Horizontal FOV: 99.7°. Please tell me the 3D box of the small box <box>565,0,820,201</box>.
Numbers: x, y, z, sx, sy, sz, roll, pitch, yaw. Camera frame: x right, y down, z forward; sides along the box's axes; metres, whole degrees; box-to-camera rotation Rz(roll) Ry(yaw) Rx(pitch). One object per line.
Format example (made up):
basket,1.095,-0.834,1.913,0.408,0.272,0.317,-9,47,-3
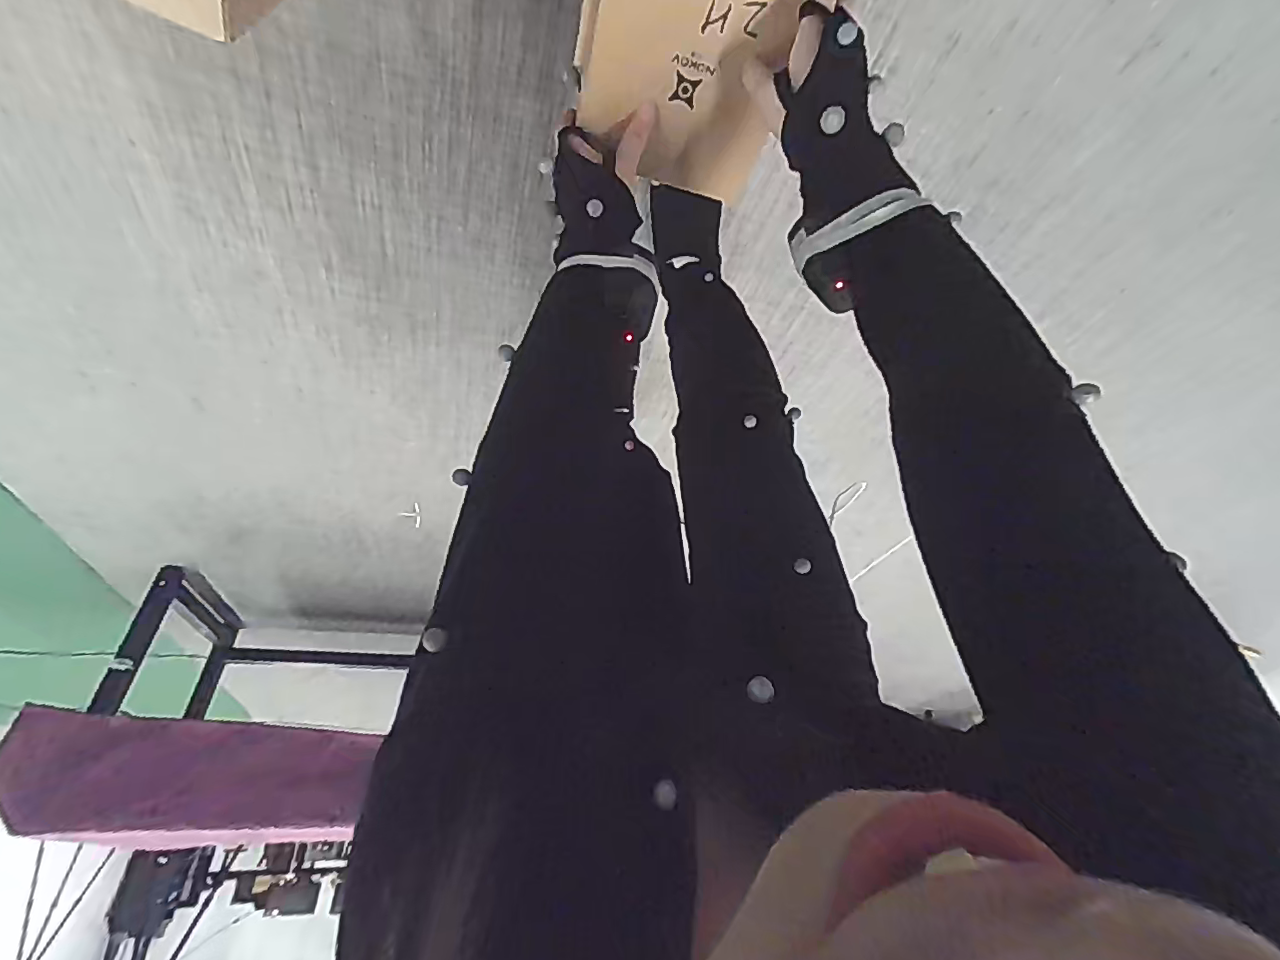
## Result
small box,0.033,-0.399,0.489,0.168,0.176,0.179,8,145,-15
